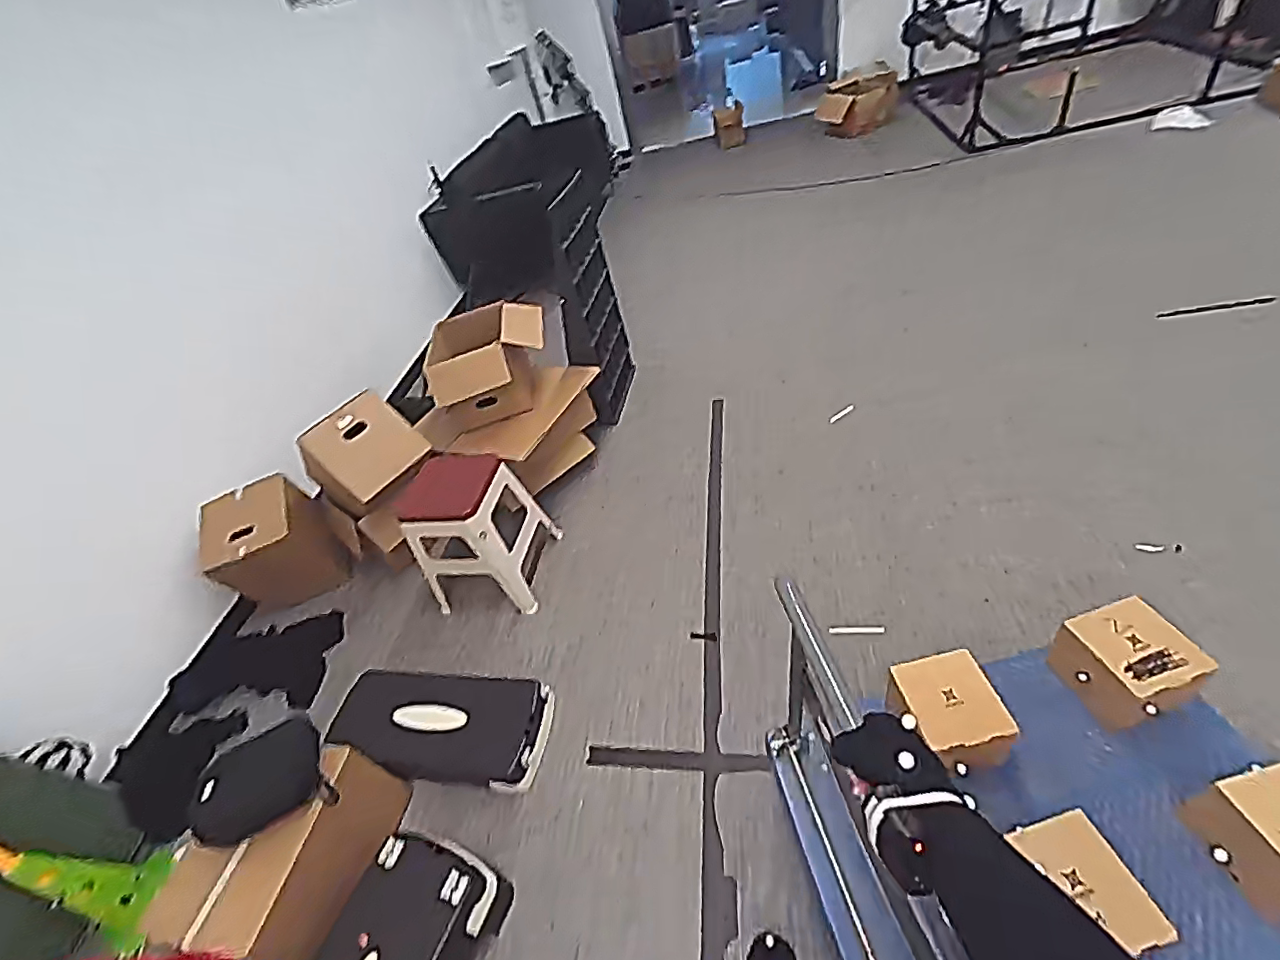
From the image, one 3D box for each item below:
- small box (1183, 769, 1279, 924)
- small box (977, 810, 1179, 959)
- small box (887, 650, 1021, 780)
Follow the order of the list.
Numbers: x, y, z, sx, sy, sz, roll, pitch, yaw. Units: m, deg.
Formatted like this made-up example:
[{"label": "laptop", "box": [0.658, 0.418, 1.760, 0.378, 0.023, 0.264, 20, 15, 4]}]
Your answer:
[{"label": "small box", "box": [1.047, 0.578, 0.864, 0.179, 0.176, 0.168, -17, 41, 3]}, {"label": "small box", "box": [0.688, 0.680, 0.880, 0.168, 0.176, 0.179, -19, 41, -1]}, {"label": "small box", "box": [0.629, 0.485, 1.114, 0.168, 0.176, 0.179, -15, 43, 3]}]
